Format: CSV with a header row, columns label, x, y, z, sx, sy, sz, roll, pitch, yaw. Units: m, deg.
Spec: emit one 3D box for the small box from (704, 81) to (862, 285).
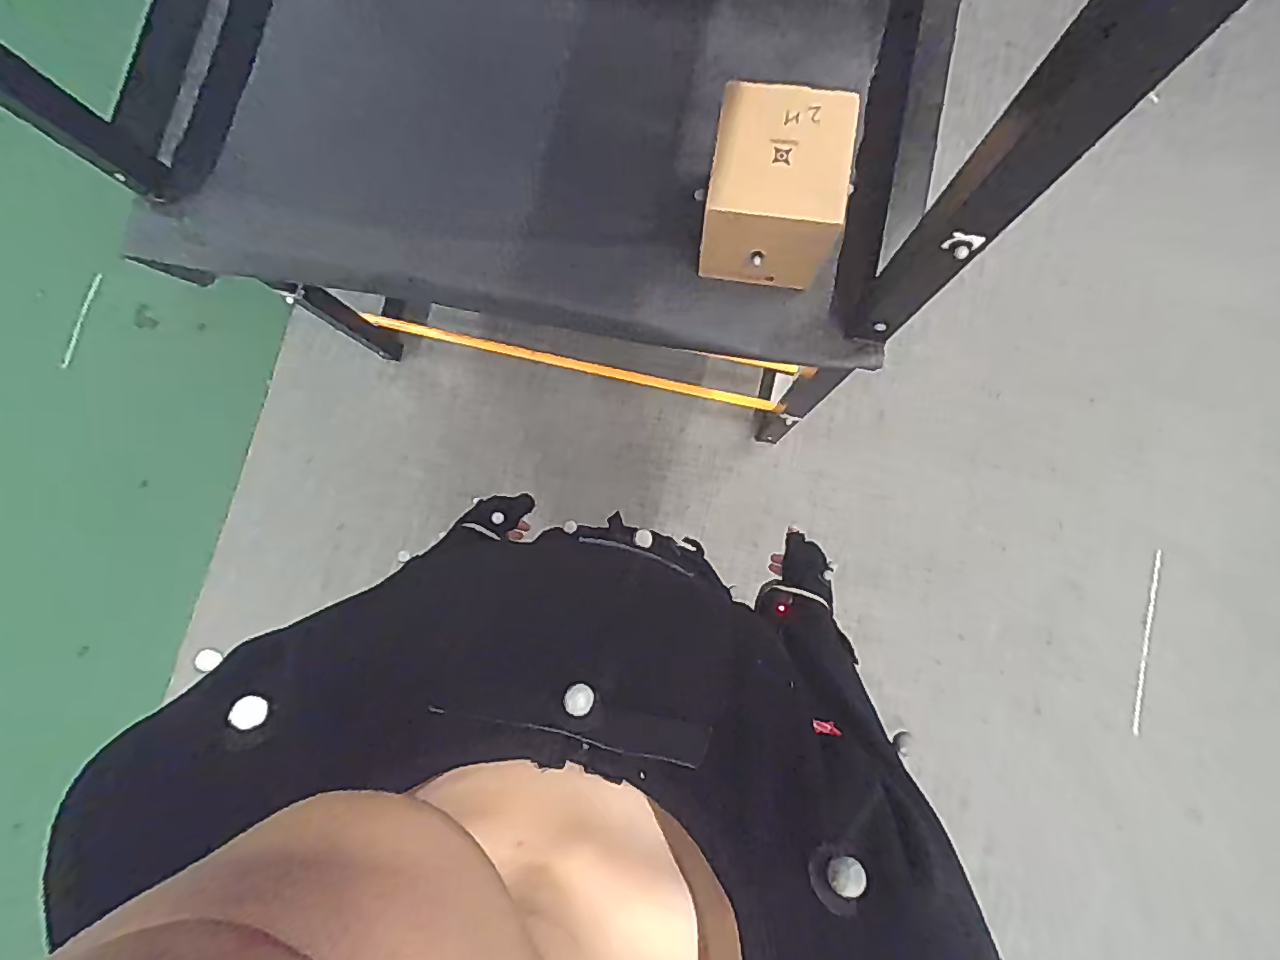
label,x,y,z,sx,sy,sz,roll,pitch,yaw
small box,0.181,-0.389,0.735,0.168,0.176,0.179,9,84,4
